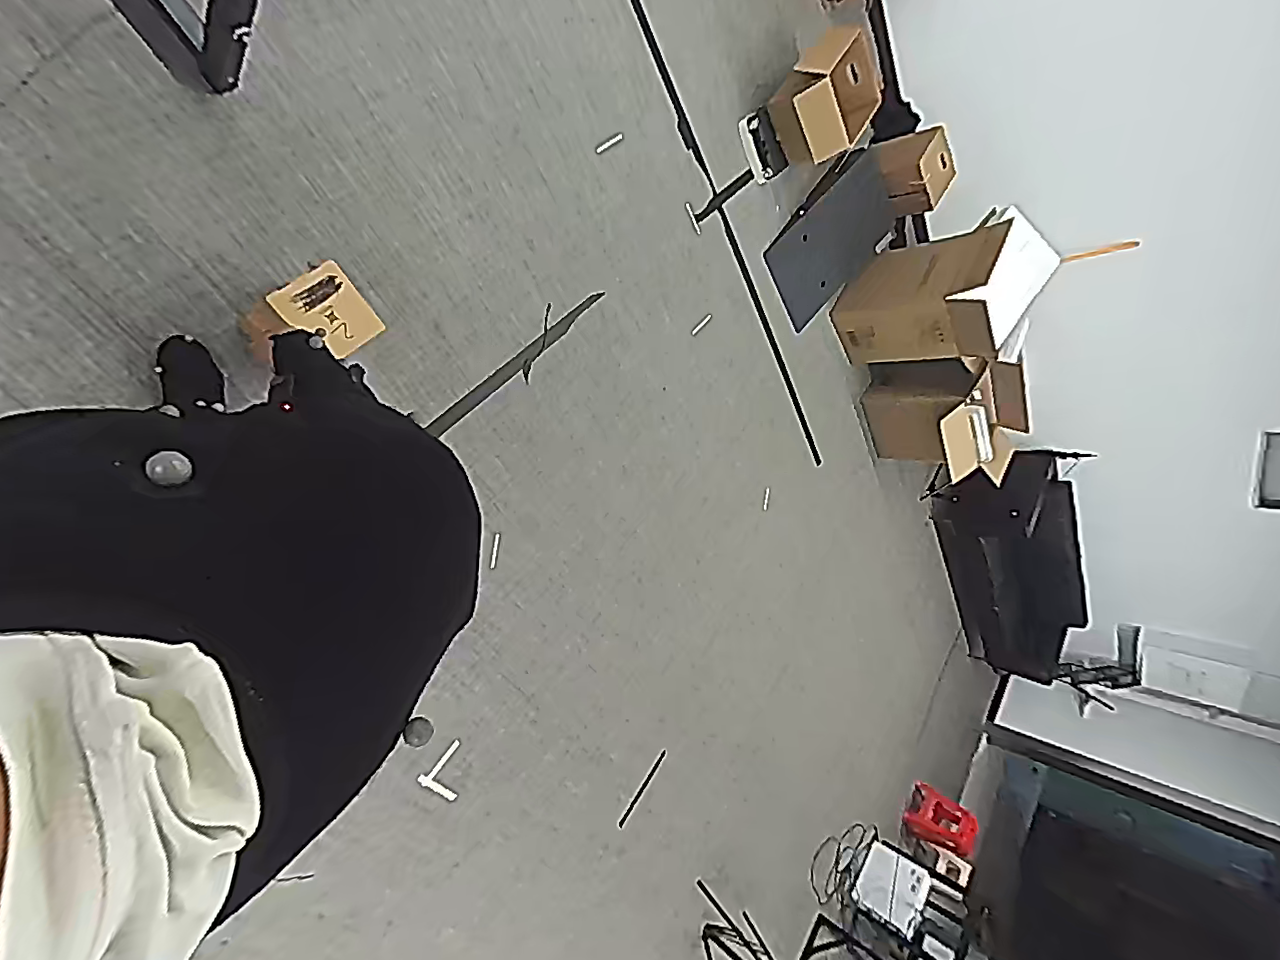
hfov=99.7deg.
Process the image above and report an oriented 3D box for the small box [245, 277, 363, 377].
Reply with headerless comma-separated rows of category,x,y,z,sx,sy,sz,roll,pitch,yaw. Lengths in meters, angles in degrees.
small box,-0.838,-0.374,1.342,0.179,0.176,0.168,-50,125,-25
